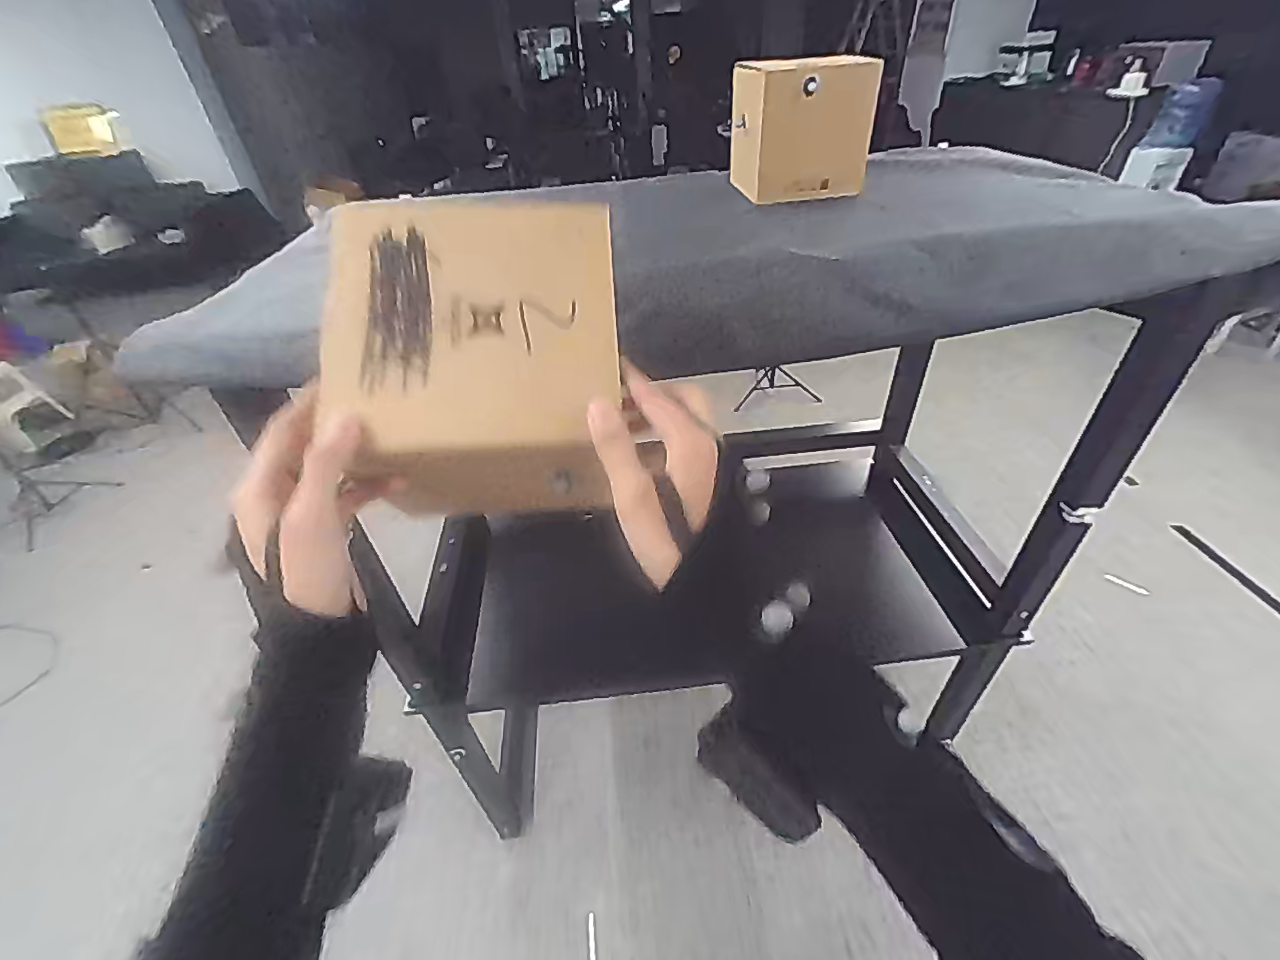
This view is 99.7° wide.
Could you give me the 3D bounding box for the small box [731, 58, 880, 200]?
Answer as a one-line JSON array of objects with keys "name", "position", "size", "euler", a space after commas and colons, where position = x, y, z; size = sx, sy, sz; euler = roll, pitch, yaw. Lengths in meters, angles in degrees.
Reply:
[{"name": "small box", "position": [0.242, -0.546, 0.845], "size": [0.168, 0.176, 0.179], "euler": [-7, 38, -2]}]
